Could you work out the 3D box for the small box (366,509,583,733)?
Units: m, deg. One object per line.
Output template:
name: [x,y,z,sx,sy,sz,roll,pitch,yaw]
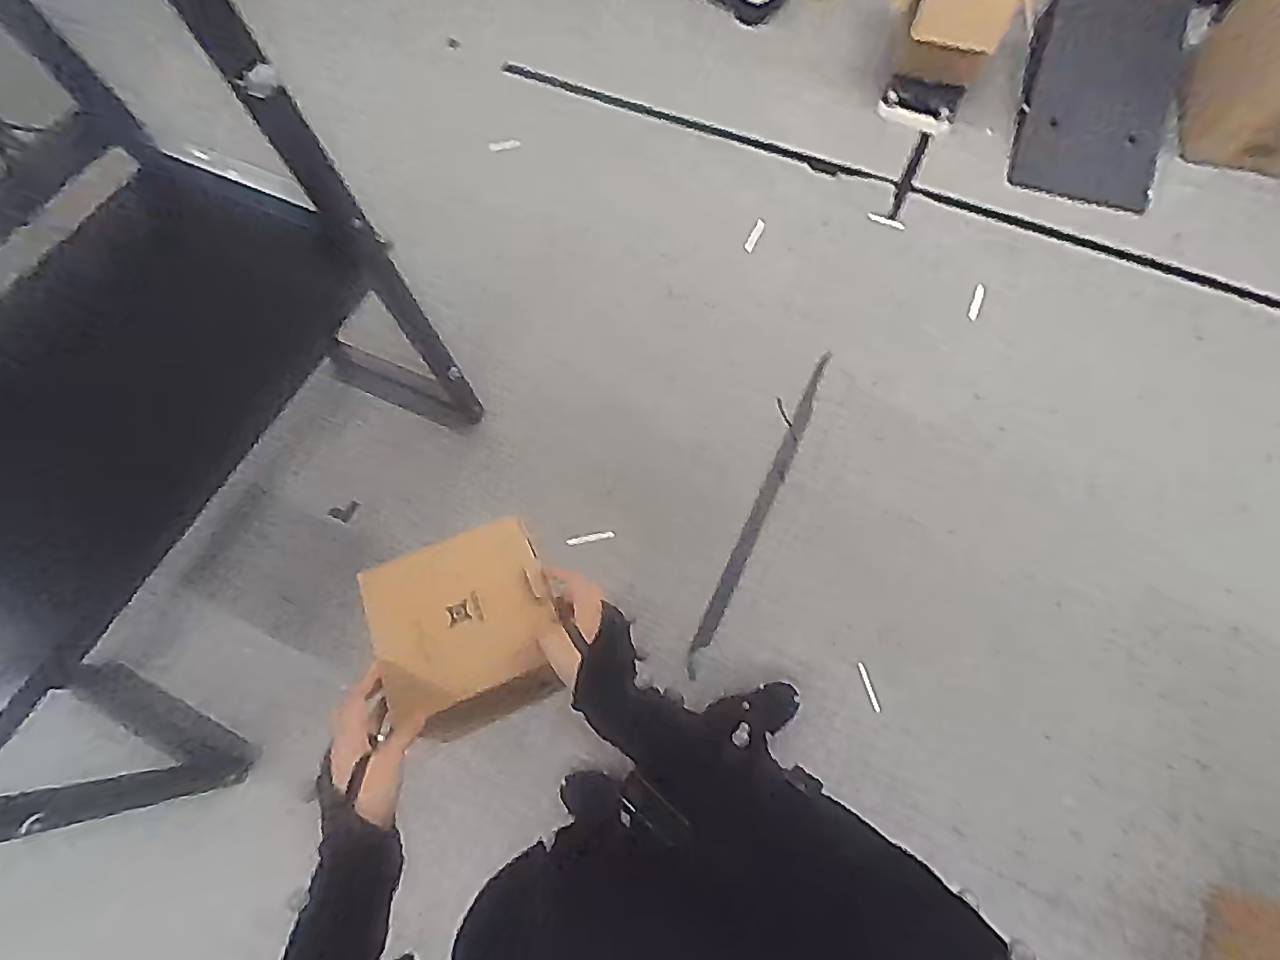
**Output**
small box: [-0.171,0.162,0.603,0.179,0.176,0.168,-21,63,-13]
